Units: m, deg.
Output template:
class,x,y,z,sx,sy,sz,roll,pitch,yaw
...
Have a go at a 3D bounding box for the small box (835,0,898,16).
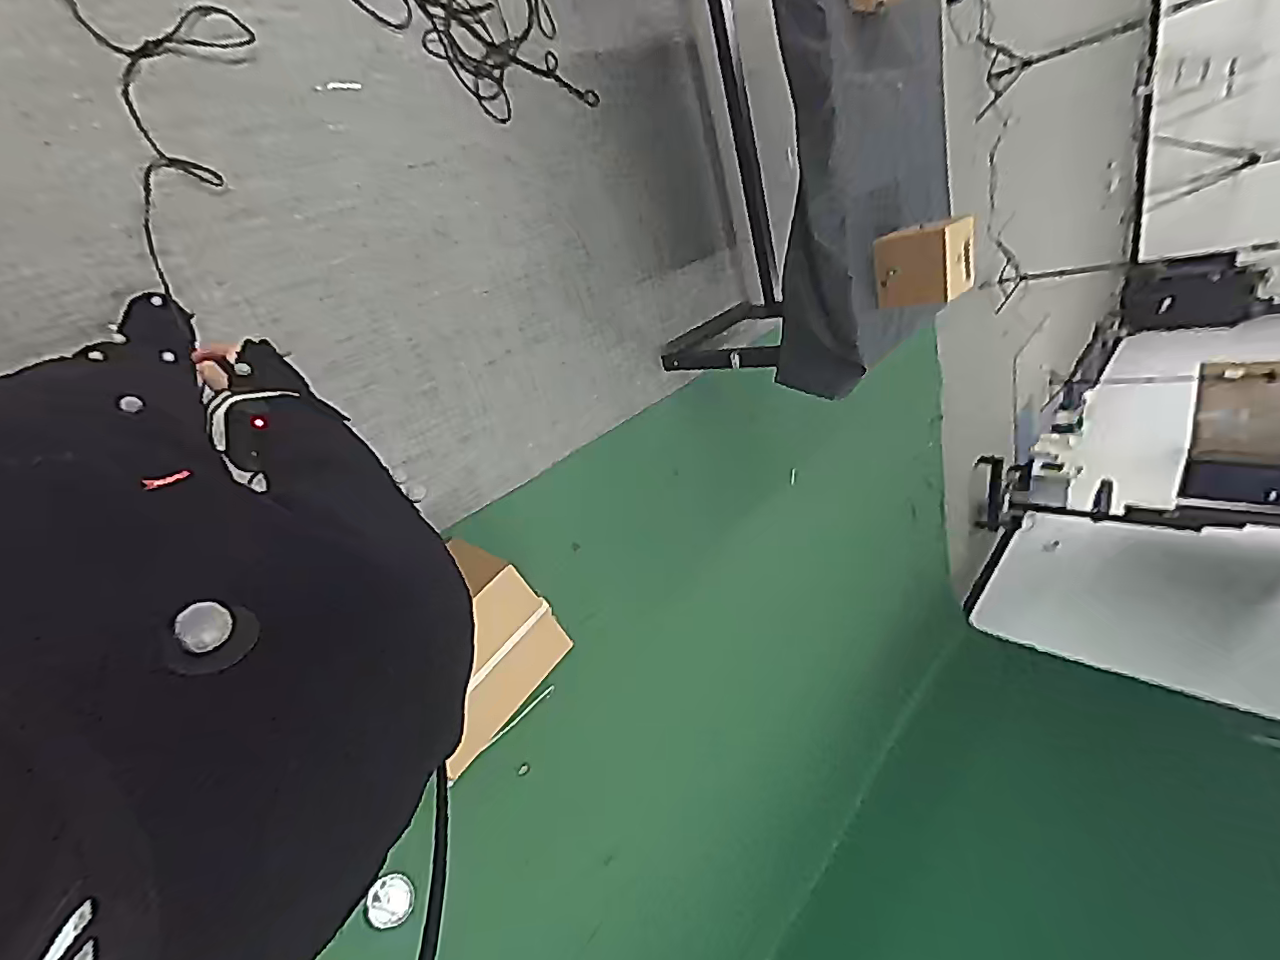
class,x,y,z,sx,sy,sz,roll,pitch,yaw
small box,0.491,-1.070,1.074,0.168,0.176,0.179,-35,121,-33
